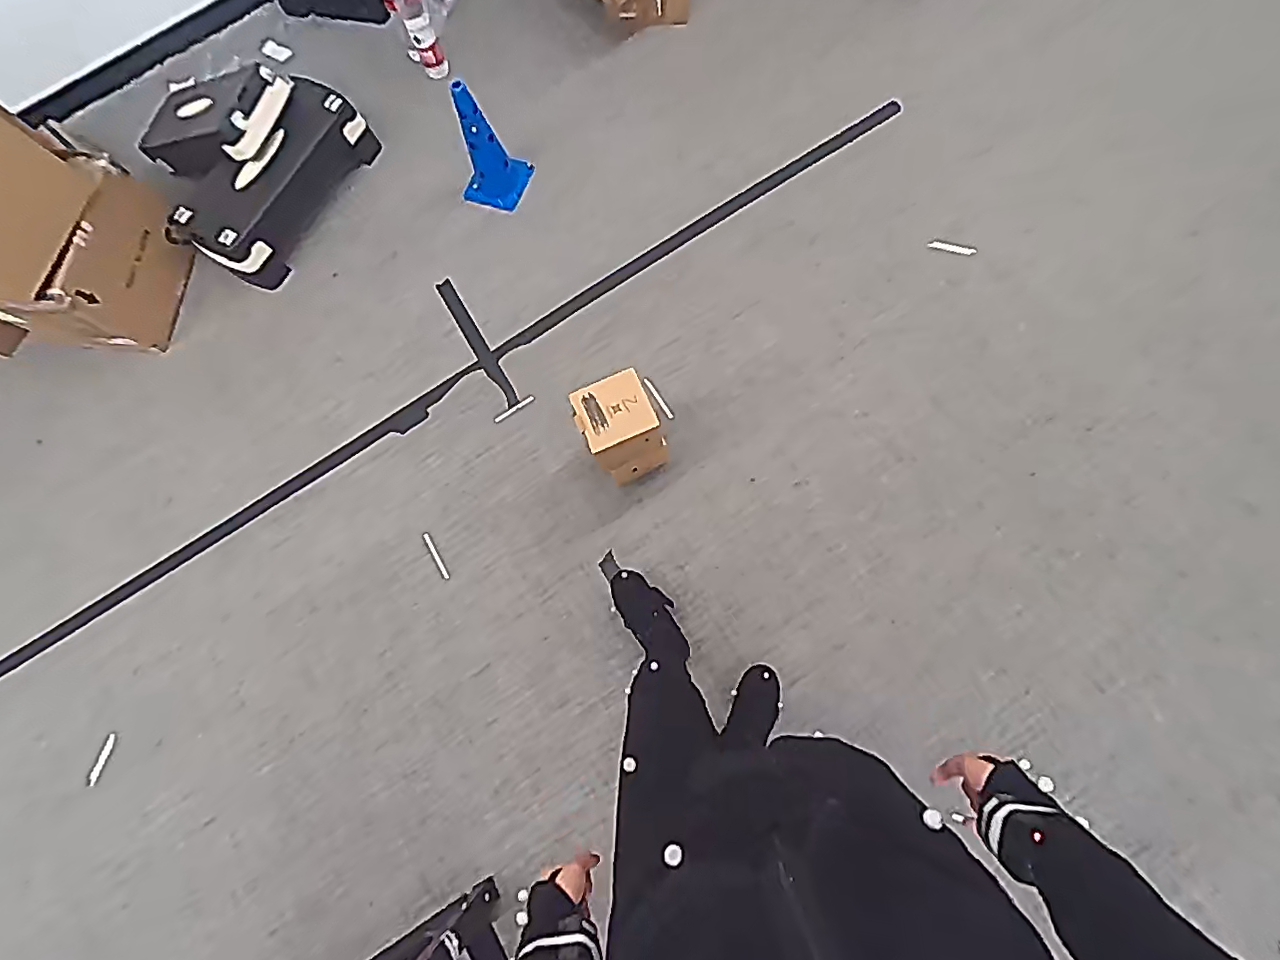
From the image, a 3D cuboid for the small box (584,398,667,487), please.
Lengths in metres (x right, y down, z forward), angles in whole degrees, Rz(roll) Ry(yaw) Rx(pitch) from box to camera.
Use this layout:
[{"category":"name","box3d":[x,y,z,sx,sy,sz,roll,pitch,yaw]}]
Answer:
[{"category":"small box","box3d":[-0.033,-0.096,1.519,0.168,0.176,0.179,-29,75,-2]}]
